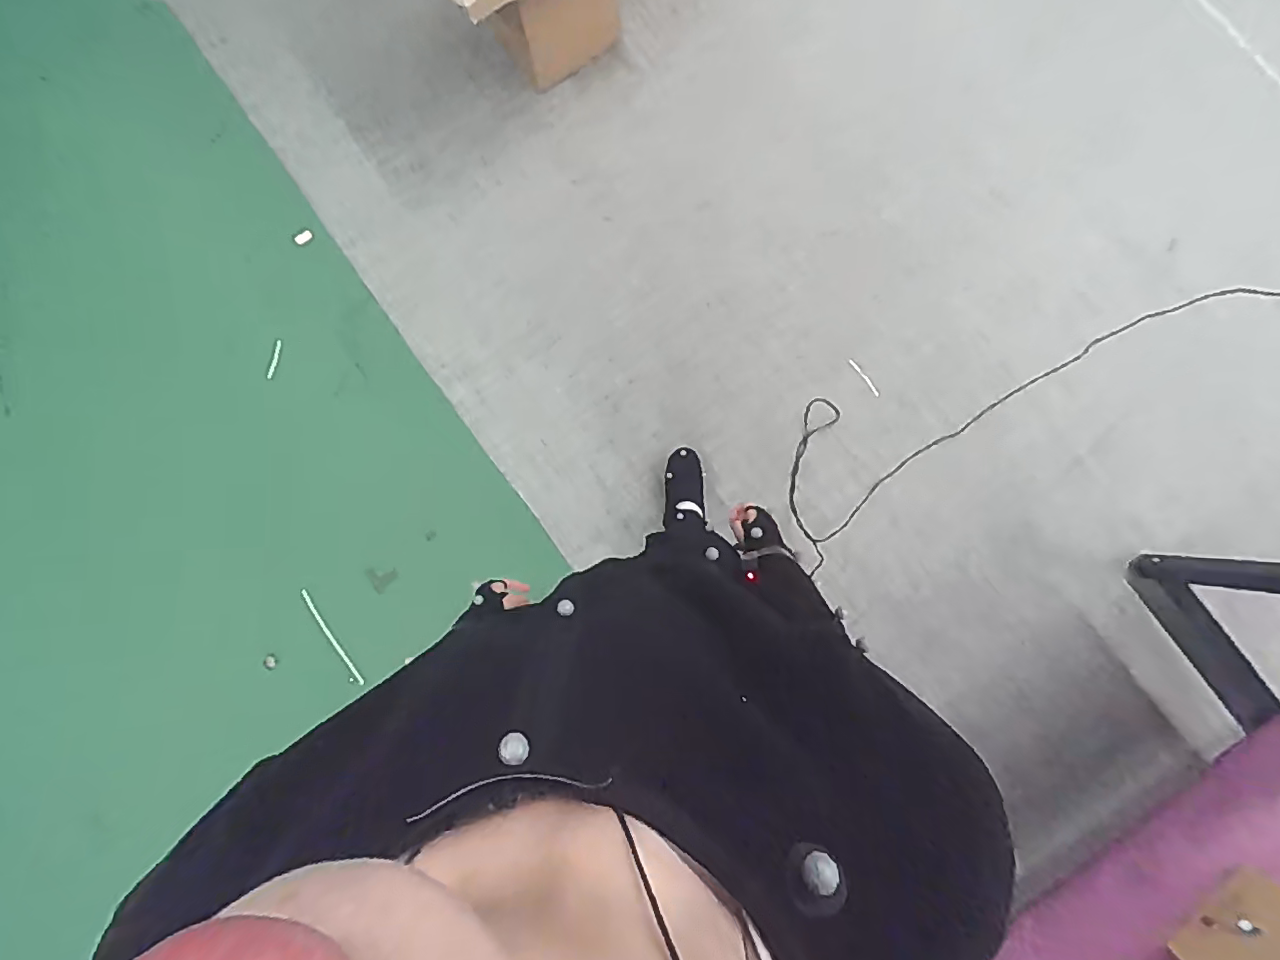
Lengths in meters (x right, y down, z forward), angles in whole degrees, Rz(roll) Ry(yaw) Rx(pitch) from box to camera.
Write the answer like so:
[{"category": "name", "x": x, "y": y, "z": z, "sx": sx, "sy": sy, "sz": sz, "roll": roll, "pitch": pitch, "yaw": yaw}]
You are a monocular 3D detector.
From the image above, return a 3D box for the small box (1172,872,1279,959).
[{"category": "small box", "x": 0.828, "y": 0.636, "z": 0.650, "sx": 0.168, "sy": 0.176, "sz": 0.179, "roll": -42, "pitch": 87, "yaw": -3}]
